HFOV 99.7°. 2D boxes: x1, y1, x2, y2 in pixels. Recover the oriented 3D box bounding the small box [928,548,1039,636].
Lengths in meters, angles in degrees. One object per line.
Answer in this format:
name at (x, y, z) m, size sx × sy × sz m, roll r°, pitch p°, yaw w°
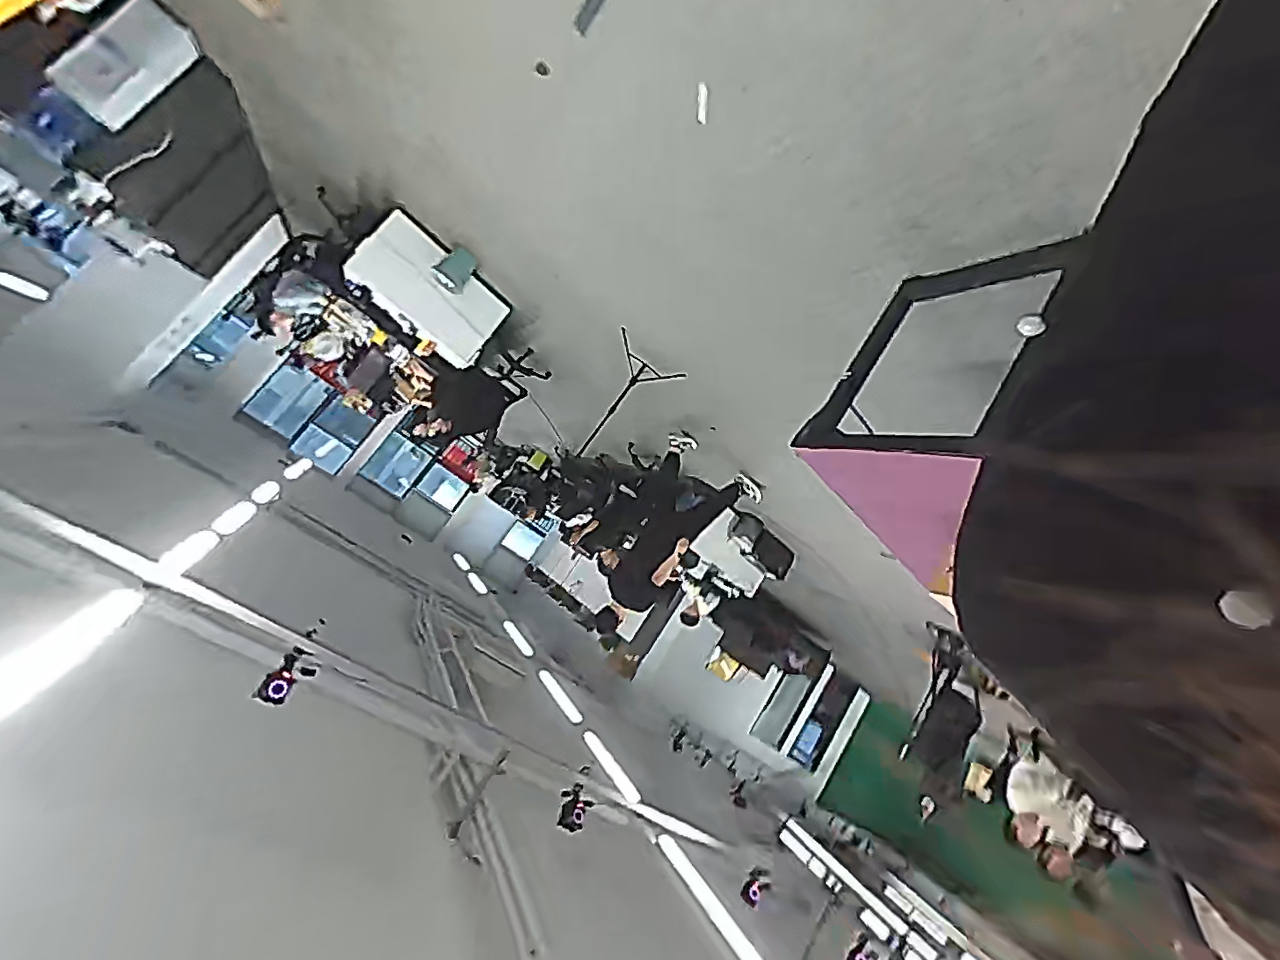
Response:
small box at (0.969, 0.308, 1.528) m, size 0.168 × 0.176 × 0.179 m, roll 37°, pitch 168°, yaw -15°
